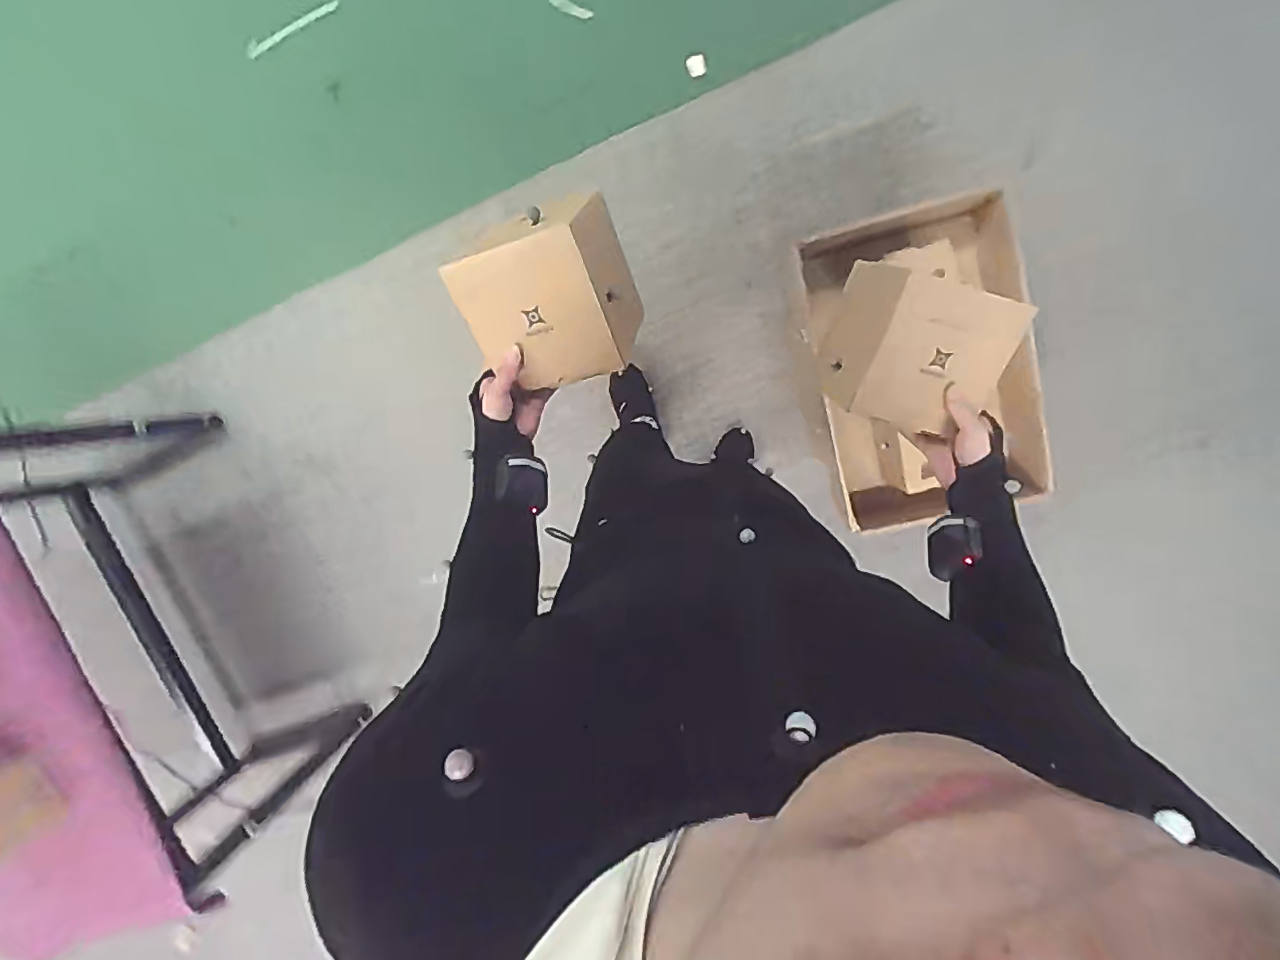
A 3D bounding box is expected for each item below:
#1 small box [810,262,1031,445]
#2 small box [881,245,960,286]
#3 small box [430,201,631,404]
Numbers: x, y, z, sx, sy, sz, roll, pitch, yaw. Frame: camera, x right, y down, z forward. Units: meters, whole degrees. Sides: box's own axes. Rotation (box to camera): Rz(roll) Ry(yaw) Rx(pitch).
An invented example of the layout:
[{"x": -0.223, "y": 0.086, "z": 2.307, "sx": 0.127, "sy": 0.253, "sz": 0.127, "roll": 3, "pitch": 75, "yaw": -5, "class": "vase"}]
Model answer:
[{"x": 0.344, "y": -0.171, "z": 0.709, "sx": 0.168, "sy": 0.176, "sz": 0.179, "roll": 13, "pitch": 114, "yaw": -8, "class": "small box"}, {"x": 0.523, "y": -0.341, "z": 1.088, "sx": 0.168, "sy": 0.176, "sz": 0.179, "roll": -15, "pitch": 97, "yaw": 9, "class": "small box"}, {"x": -0.120, "y": -0.225, "z": 0.673, "sx": 0.168, "sy": 0.176, "sz": 0.179, "roll": -11, "pitch": 128, "yaw": 17, "class": "small box"}]
